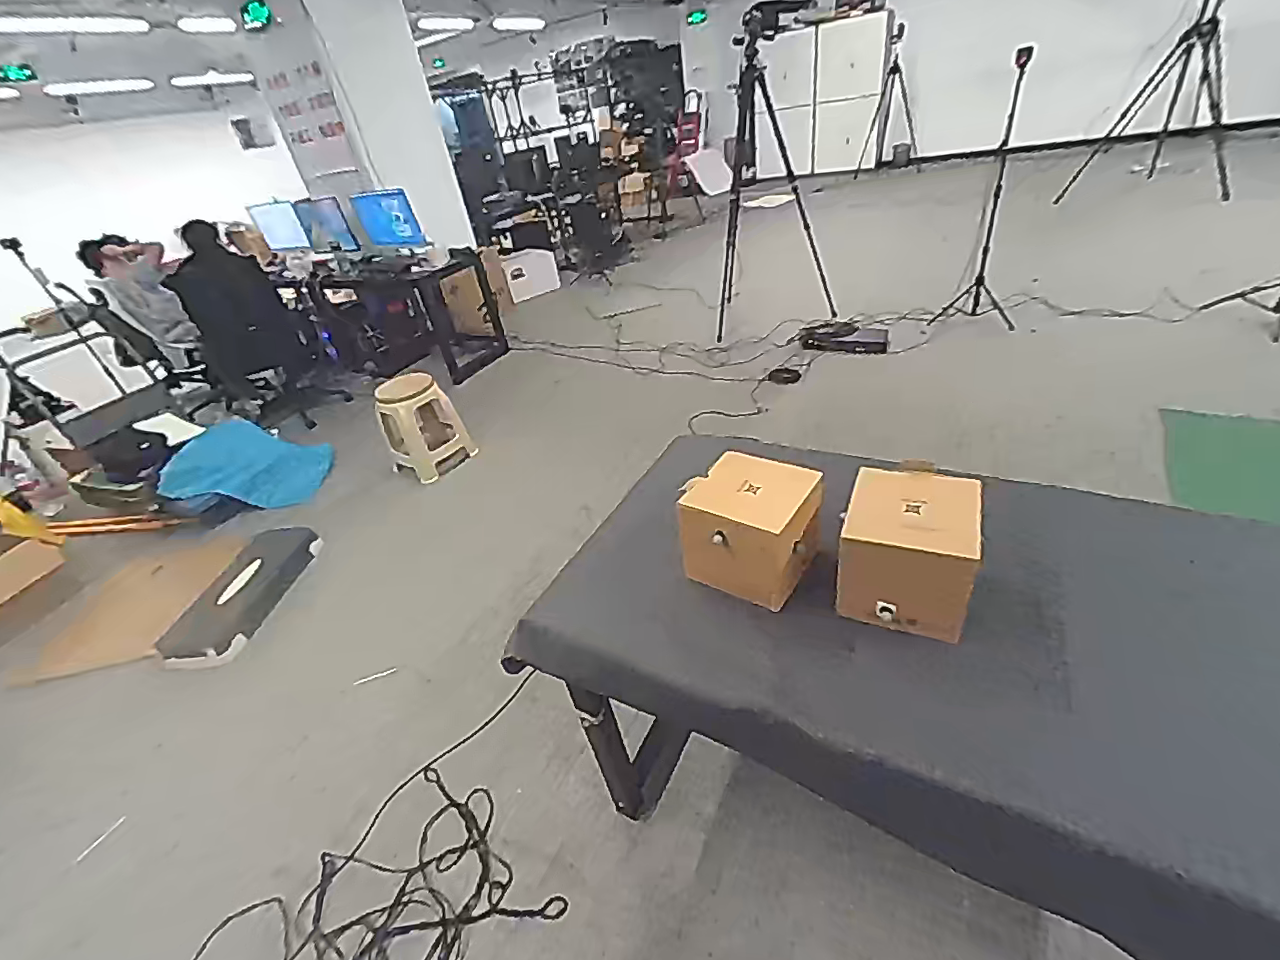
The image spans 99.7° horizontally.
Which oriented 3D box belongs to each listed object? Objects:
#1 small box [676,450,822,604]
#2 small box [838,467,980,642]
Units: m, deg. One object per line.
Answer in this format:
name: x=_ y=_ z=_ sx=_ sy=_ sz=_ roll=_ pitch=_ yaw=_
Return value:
small box: x=0.184 y=0.078 z=0.895 sx=0.179 sy=0.176 sz=0.168 roll=17 pitch=43 yaw=34
small box: x=0.394 y=0.105 z=0.803 sx=0.168 sy=0.176 sz=0.179 roll=8 pitch=39 yaw=26
